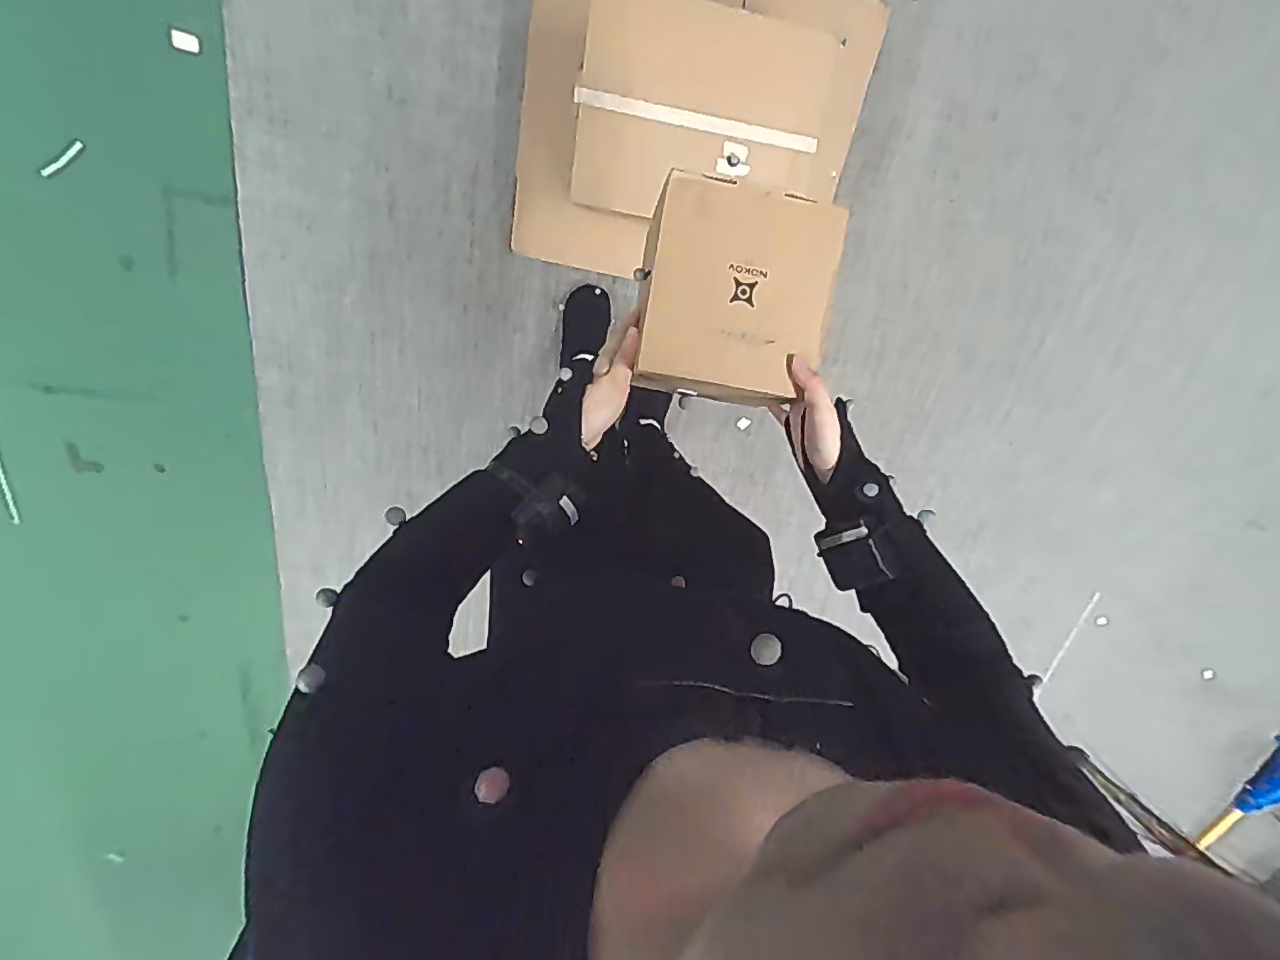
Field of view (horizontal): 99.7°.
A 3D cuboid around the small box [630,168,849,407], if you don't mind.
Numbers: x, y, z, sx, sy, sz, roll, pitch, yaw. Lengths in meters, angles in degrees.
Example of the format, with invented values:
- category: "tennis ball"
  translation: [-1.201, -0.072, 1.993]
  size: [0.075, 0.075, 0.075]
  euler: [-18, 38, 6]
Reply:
- category: "small box"
  translation: [0.086, -0.177, 0.557]
  size: [0.168, 0.176, 0.179]
  euler: [9, 94, -6]

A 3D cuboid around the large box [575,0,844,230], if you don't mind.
- category: "large box"
  translation: [0.094, -0.642, 1.026]
  size: [0.408, 0.320, 0.320]
  euler: [7, 114, -8]
